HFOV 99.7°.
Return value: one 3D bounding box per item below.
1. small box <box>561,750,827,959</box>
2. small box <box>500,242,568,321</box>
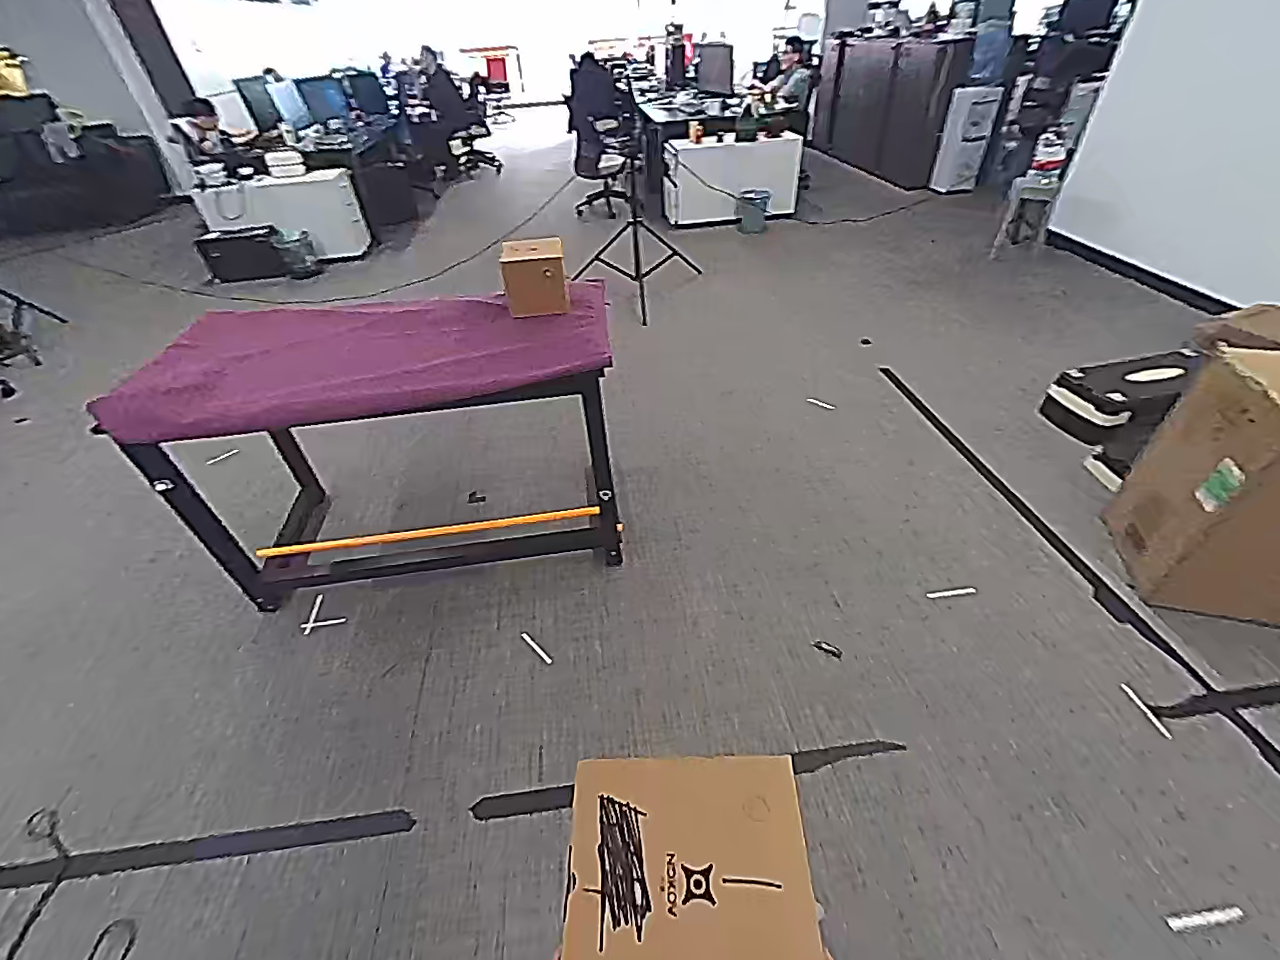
[{"bbox_3d":[0.044,0.335,0.438,0.179,0.176,0.168,-5,46,5],"label":"small box"},{"bbox_3d":[-0.309,-0.594,1.617,0.179,0.176,0.168,-7,41,-4],"label":"small box"}]
